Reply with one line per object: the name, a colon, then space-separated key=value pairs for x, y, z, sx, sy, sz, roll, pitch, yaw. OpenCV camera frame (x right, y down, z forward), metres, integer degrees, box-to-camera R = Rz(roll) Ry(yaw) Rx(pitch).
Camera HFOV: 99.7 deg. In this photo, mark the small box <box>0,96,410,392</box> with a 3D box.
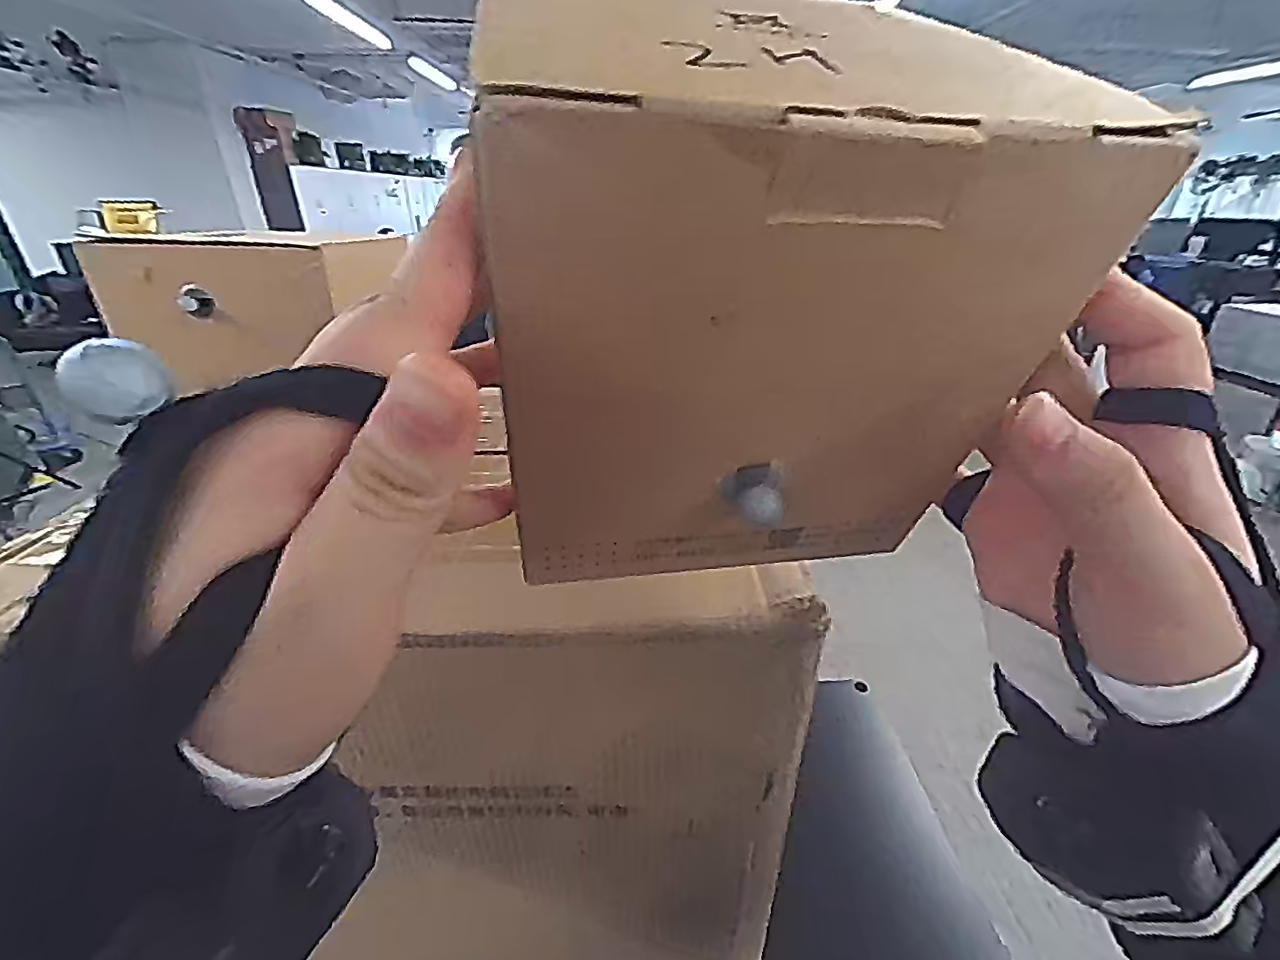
small box: x=-0.298 y=-0.168 z=0.405 sx=0.179 sy=0.176 sz=0.168 roll=1 pitch=26 yaw=-1
